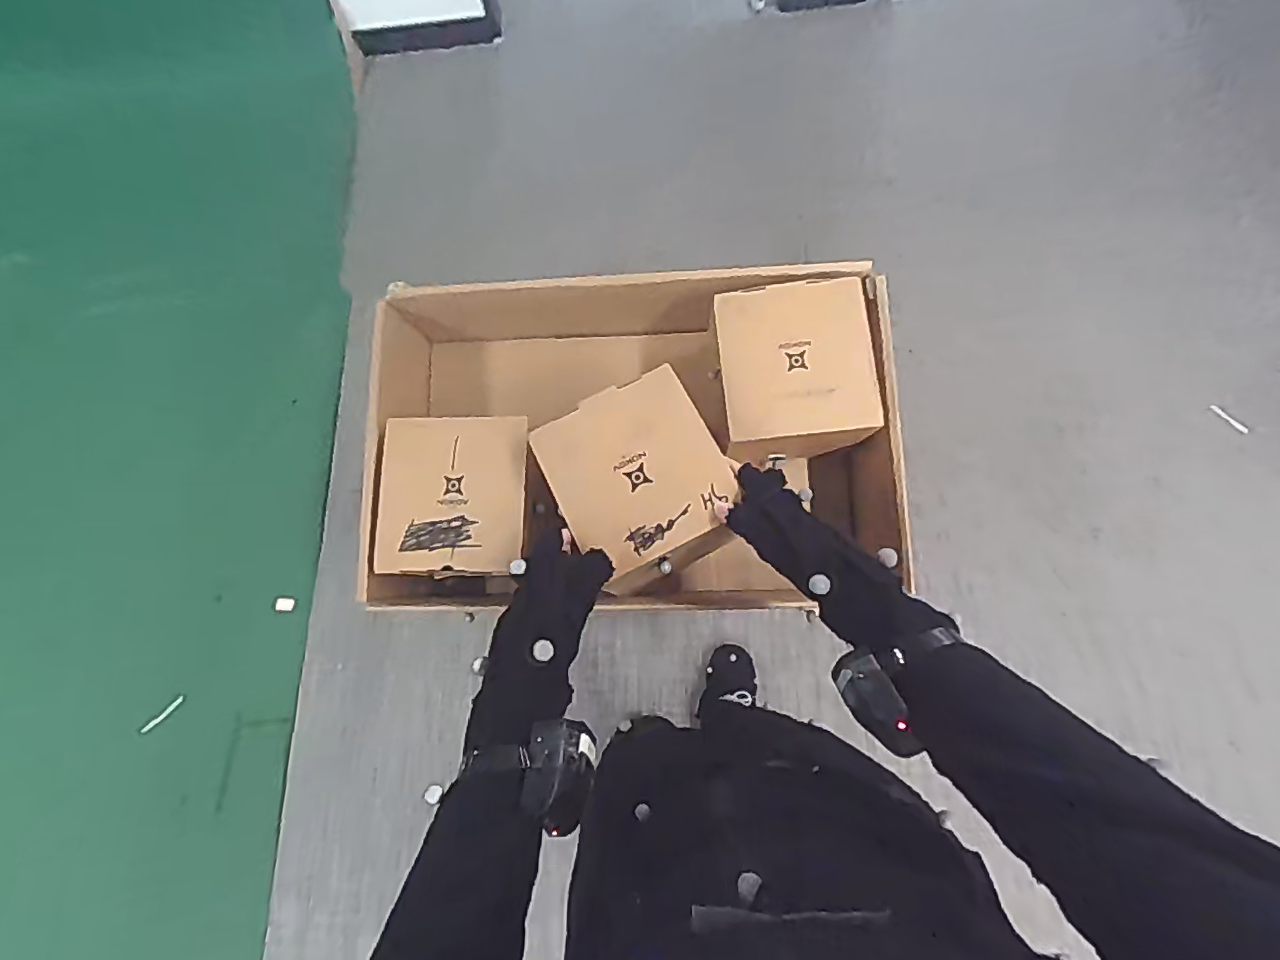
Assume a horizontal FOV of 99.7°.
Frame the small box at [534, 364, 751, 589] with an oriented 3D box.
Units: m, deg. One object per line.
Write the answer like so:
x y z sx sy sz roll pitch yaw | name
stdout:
0.006 0.008 0.611 0.168 0.176 0.179 -27 73 0 | small box
